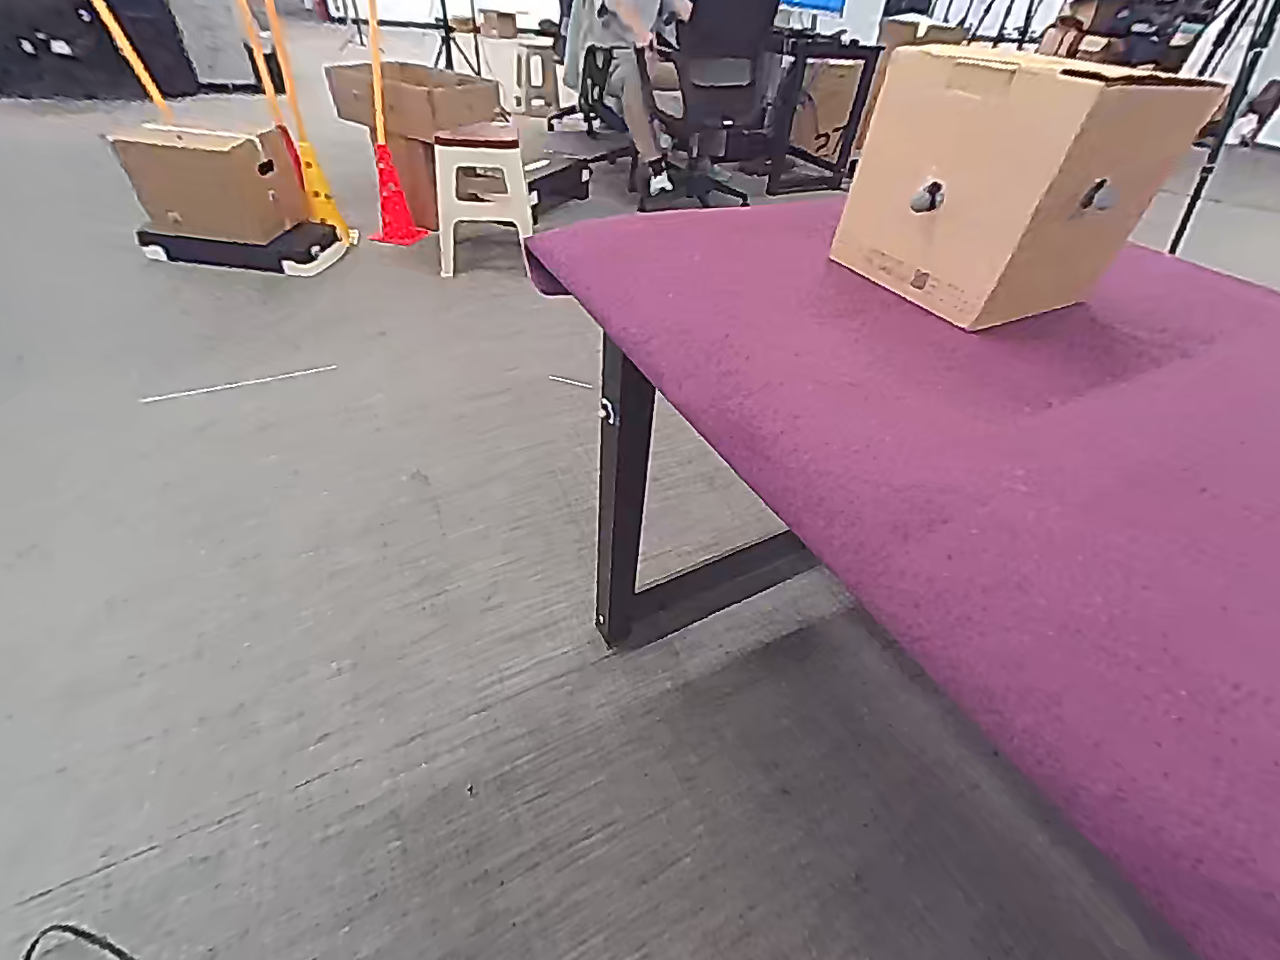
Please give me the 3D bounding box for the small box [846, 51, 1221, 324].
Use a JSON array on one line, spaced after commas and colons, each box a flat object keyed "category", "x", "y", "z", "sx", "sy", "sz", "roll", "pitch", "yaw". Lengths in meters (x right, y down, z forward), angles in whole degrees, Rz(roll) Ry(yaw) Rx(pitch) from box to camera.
[{"category": "small box", "x": 0.303, "y": -0.250, "z": 0.461, "sx": 0.179, "sy": 0.176, "sz": 0.168, "roll": -19, "pitch": 48, "yaw": -23}]
